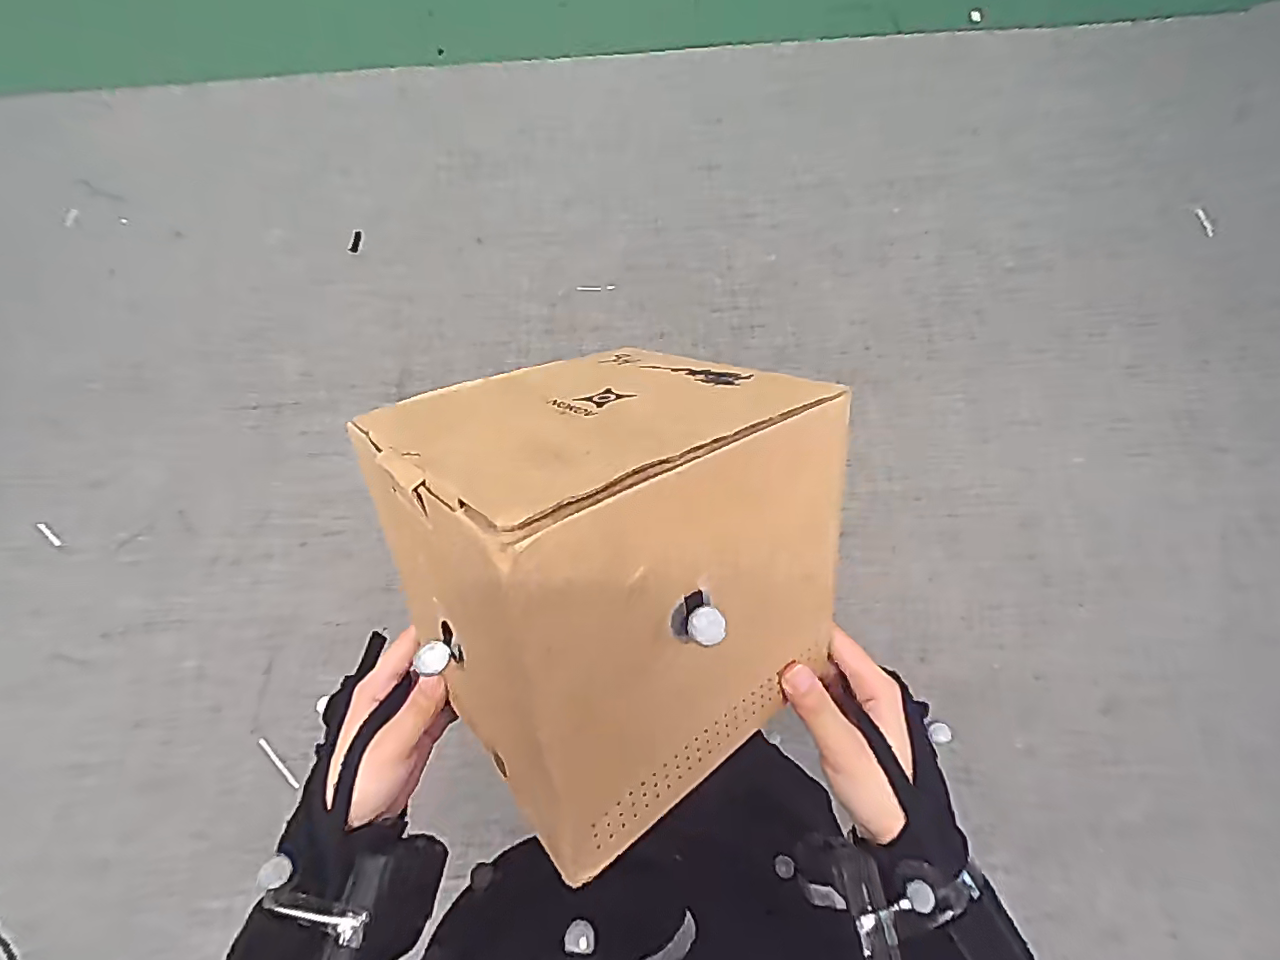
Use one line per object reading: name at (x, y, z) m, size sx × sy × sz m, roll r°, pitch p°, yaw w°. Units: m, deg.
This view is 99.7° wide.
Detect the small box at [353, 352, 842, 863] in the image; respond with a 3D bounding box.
small box at (-0.016, 0.041, 0.284) m, size 0.179 × 0.176 × 0.168 m, roll -24°, pitch 31°, yaw -34°
